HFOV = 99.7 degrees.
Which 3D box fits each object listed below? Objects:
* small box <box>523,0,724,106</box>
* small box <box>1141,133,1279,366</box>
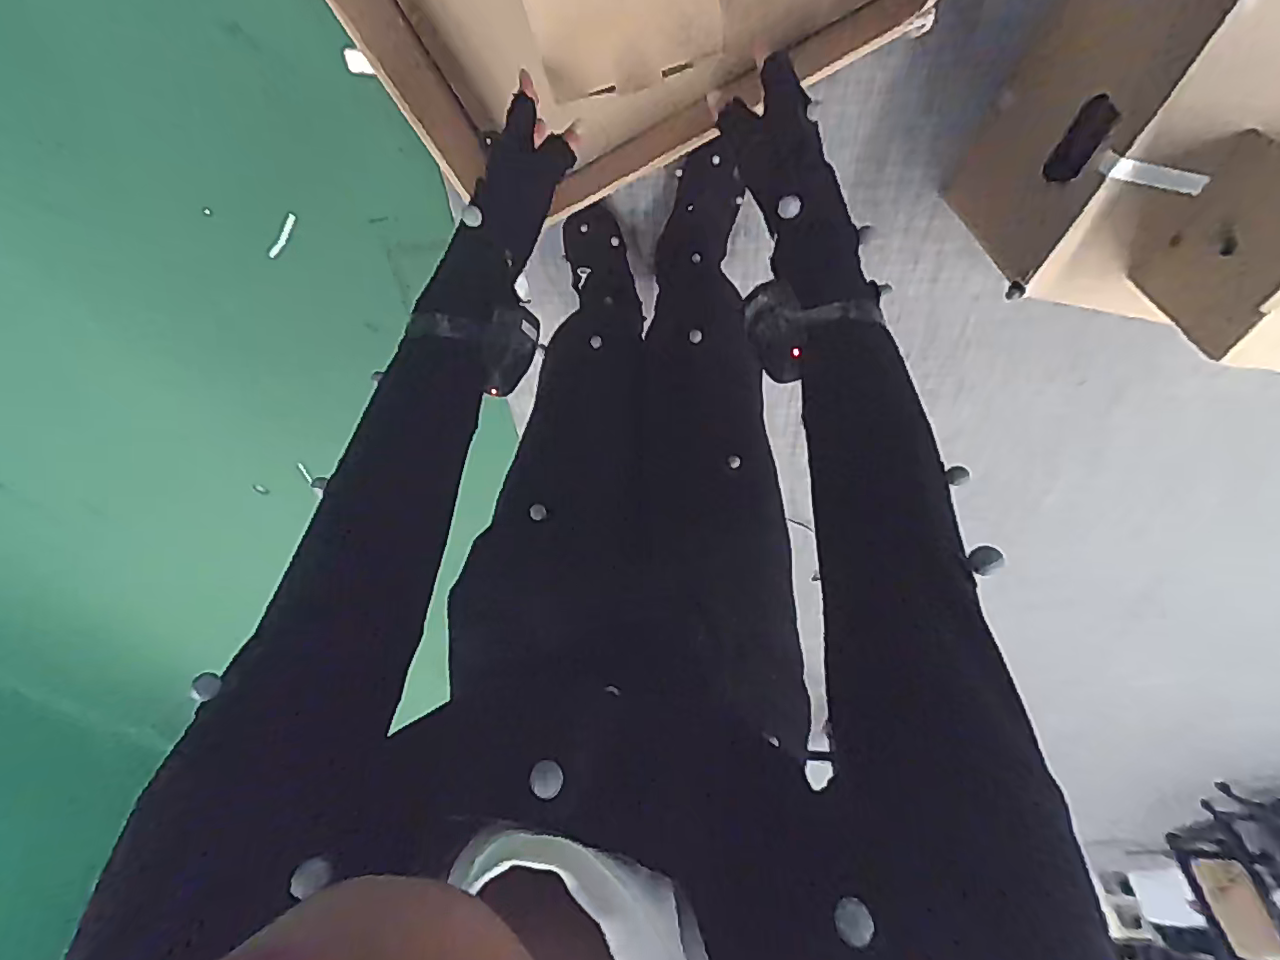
[{"bbox_3d":[-0.016,-0.481,0.491,0.168,0.176,0.179,-7,134,15],"label":"small box"},{"bbox_3d":[0.680,-0.228,0.544,0.179,0.176,0.168,6,139,1],"label":"small box"}]
